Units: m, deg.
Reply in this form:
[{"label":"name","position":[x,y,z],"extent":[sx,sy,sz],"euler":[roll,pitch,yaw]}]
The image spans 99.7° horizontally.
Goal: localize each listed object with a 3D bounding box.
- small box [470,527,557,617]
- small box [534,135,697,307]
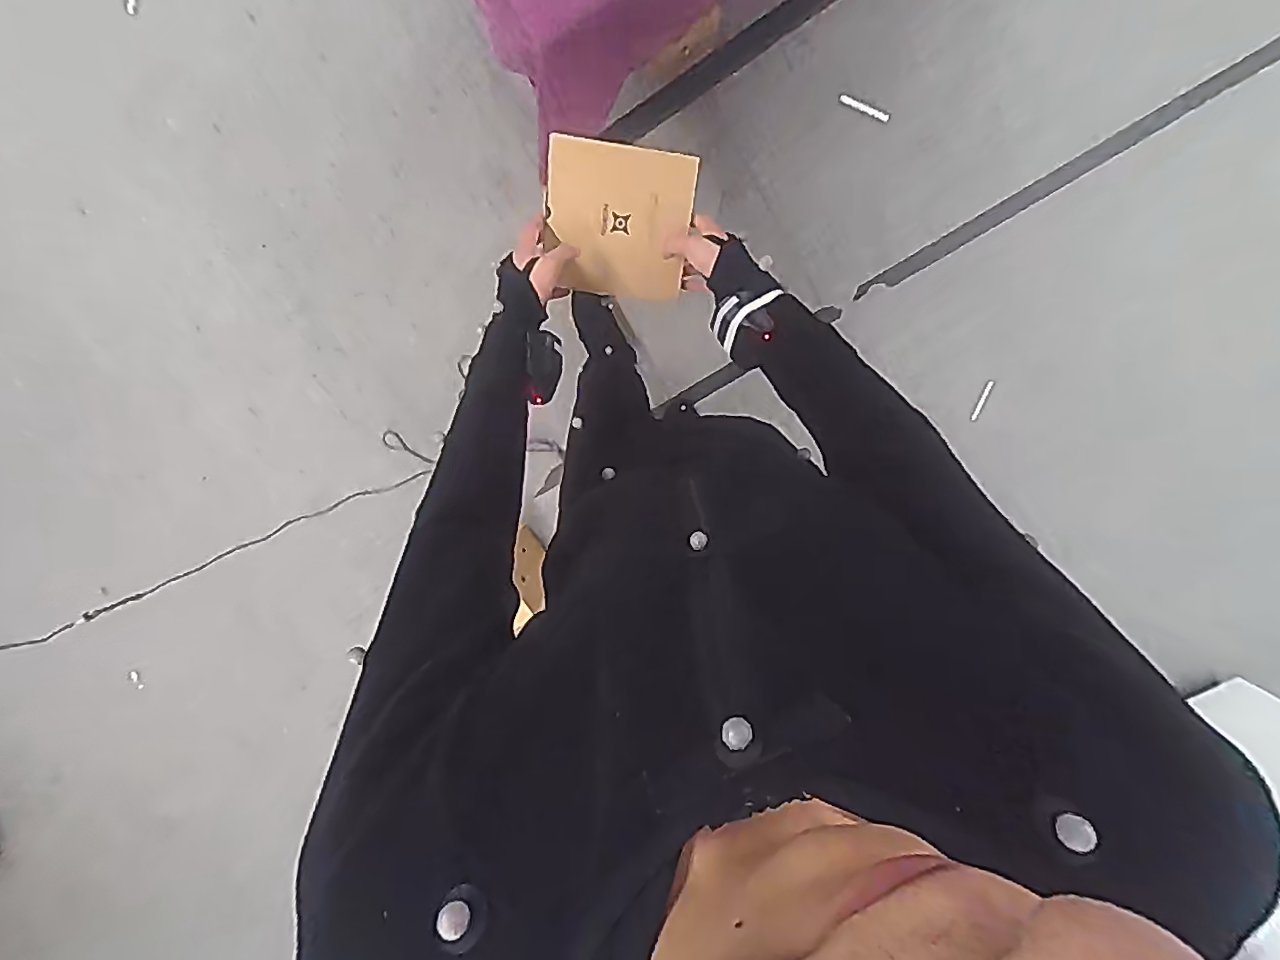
[{"label":"small box","position":[-0.371,0.270,1.625],"extent":[0.168,0.176,0.179],"euler":[-32,101,9]},{"label":"small box","position":[-0.034,-0.327,0.713],"extent":[0.179,0.176,0.168],"euler":[8,109,-5]}]
